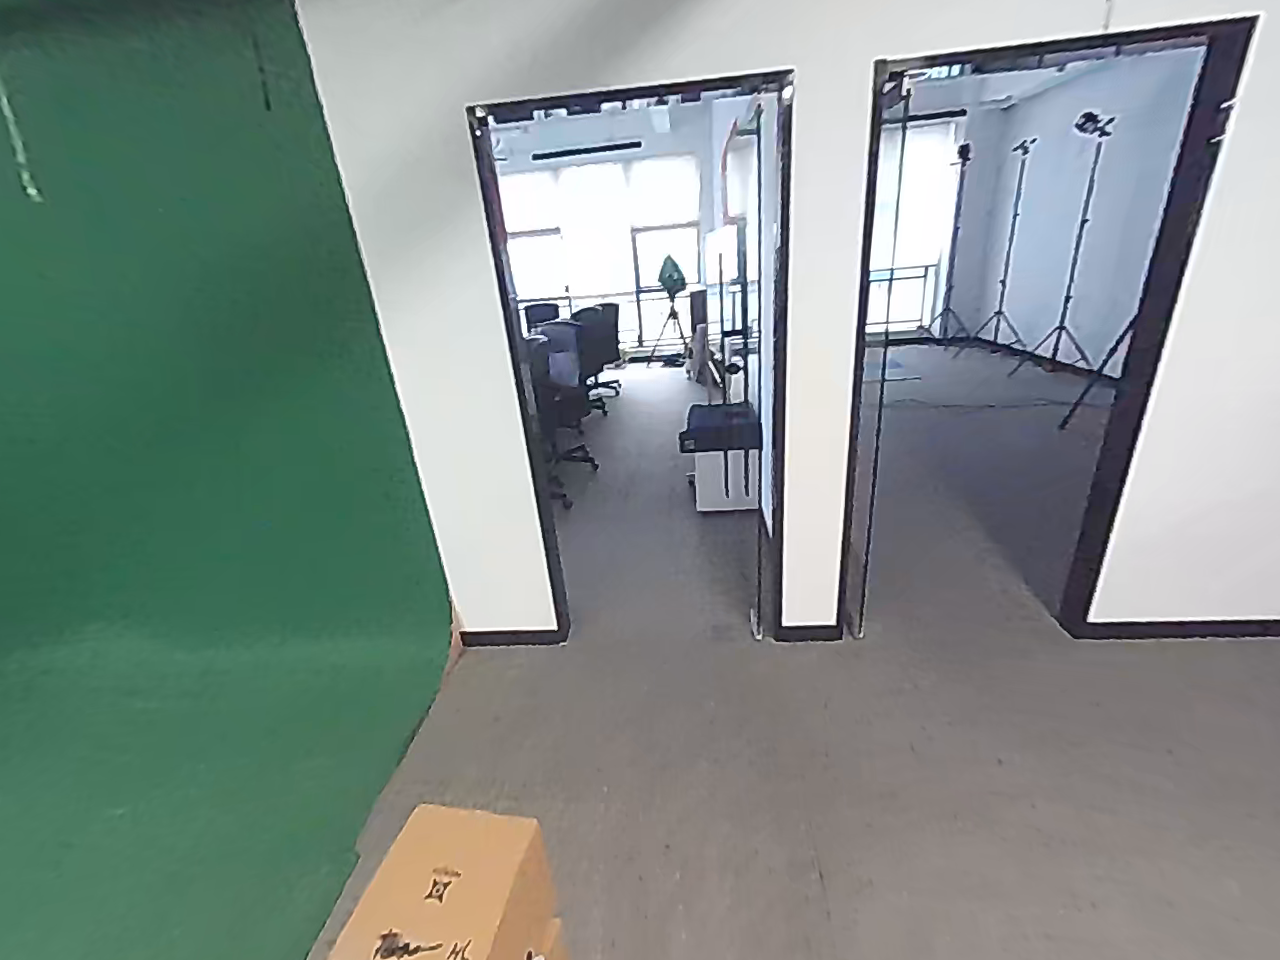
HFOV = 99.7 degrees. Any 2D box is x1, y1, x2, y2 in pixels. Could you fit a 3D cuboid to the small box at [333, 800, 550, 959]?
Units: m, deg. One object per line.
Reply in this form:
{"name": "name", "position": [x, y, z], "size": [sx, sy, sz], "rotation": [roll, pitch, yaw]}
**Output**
{"name": "small box", "position": [-0.214, 0.523, 0.636], "size": [0.168, 0.176, 0.179], "rotation": [0, 22, 12]}

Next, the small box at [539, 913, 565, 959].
{"name": "small box", "position": [-0.199, 0.678, 0.690], "size": [0.168, 0.176, 0.179], "rotation": [3, 22, 18]}
